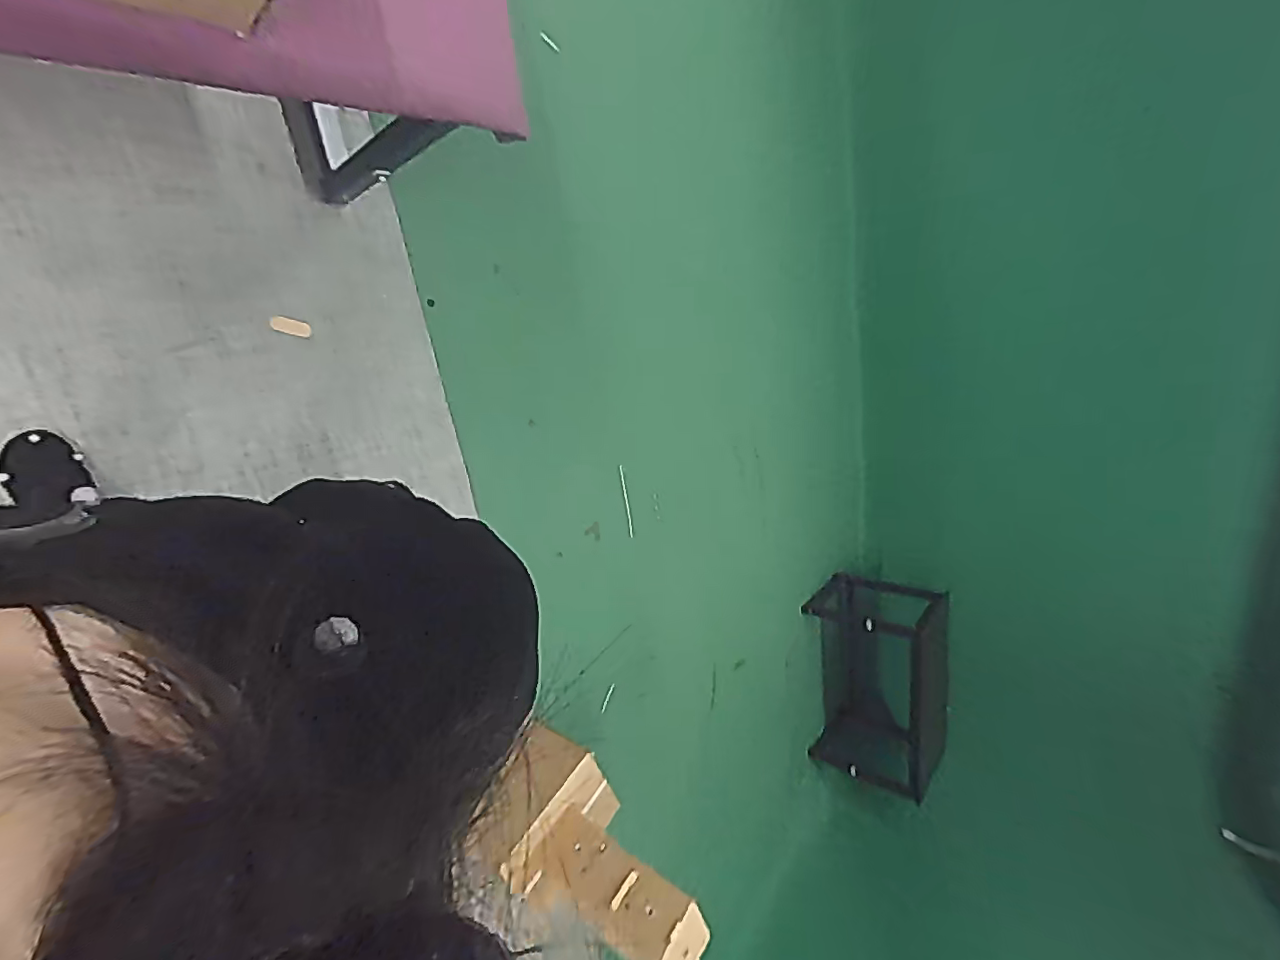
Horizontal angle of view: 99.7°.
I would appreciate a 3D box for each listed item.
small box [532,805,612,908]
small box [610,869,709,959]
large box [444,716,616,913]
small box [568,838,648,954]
[{"bbox_3d":[-0.192,1.128,1.627,0.179,0.176,0.168,-39,121,-38],"label":"small box"},{"bbox_3d":[0.048,1.164,1.406,0.168,0.176,0.179,-38,119,-38],"label":"small box"},{"bbox_3d":[-0.357,1.092,1.806,0.408,0.320,0.320,-43,126,-37],"label":"large box"},{"bbox_3d":[-0.076,1.150,1.513,0.168,0.176,0.179,-37,120,-39],"label":"small box"}]
